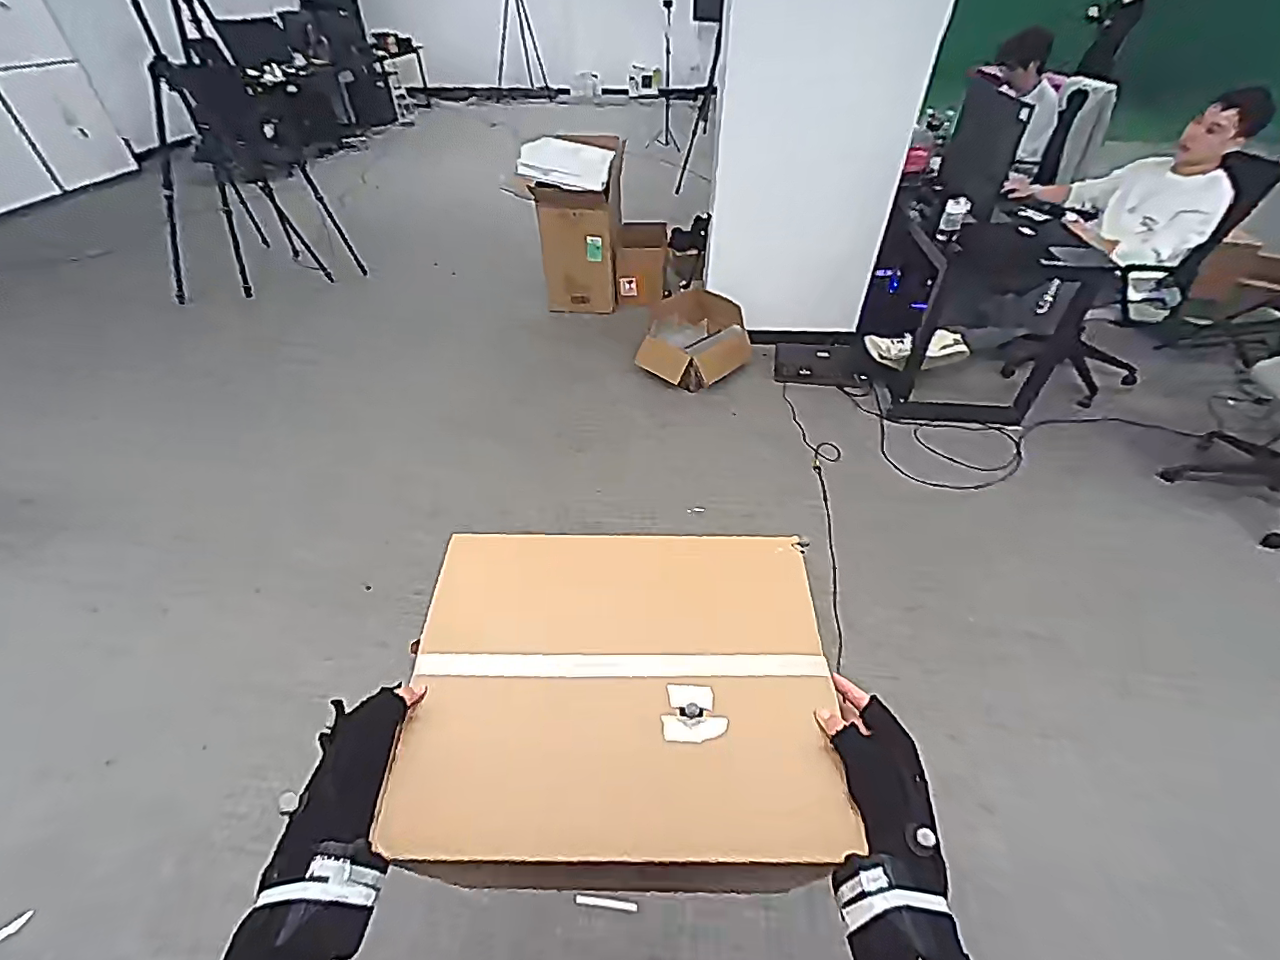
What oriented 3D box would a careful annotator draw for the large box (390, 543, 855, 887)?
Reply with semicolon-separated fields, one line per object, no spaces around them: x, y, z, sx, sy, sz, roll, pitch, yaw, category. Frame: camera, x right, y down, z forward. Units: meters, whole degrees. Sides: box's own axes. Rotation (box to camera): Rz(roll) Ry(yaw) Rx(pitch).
-0.018;0.290;0.662;0.408;0.320;0.320;1;50;-1;large box
